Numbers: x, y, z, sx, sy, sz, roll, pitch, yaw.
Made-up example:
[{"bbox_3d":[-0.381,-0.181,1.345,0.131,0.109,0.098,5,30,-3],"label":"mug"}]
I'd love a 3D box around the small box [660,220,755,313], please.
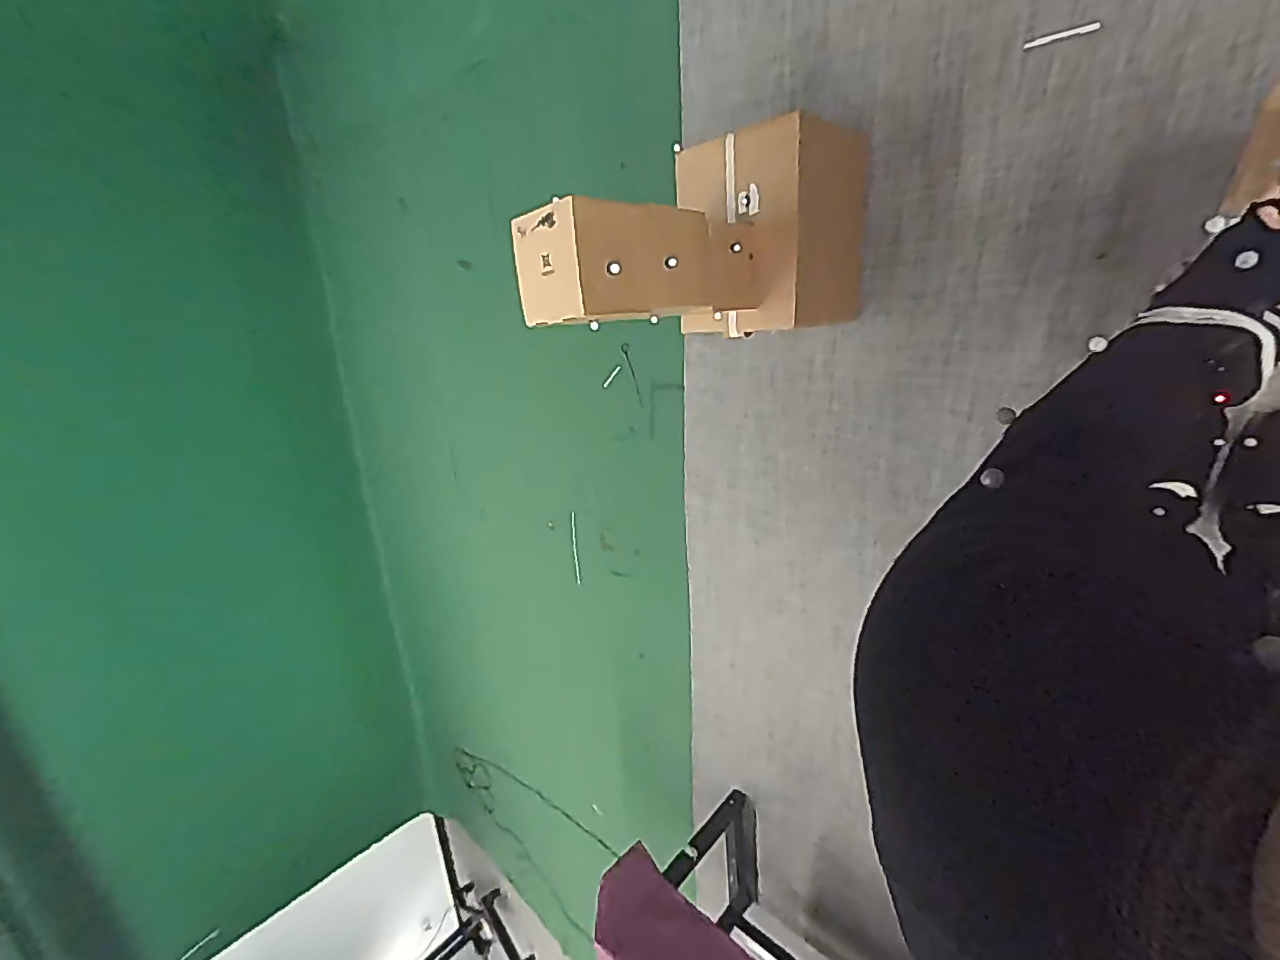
[{"bbox_3d":[0.133,-0.450,1.155,0.179,0.176,0.168,12,112,43],"label":"small box"}]

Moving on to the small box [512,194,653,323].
[{"bbox_3d":[-0.091,-0.372,0.927,0.168,0.176,0.179,9,111,43],"label":"small box"}]

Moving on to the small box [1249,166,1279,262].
[{"bbox_3d":[0.780,-0.318,0.556,0.168,0.176,0.179,20,116,39],"label":"small box"}]

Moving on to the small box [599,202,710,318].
[{"bbox_3d":[0.020,-0.415,1.041,0.168,0.176,0.179,6,108,43],"label":"small box"}]

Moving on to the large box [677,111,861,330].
[{"bbox_3d":[0.308,-0.575,1.289,0.320,0.320,0.408,13,113,42],"label":"large box"}]
